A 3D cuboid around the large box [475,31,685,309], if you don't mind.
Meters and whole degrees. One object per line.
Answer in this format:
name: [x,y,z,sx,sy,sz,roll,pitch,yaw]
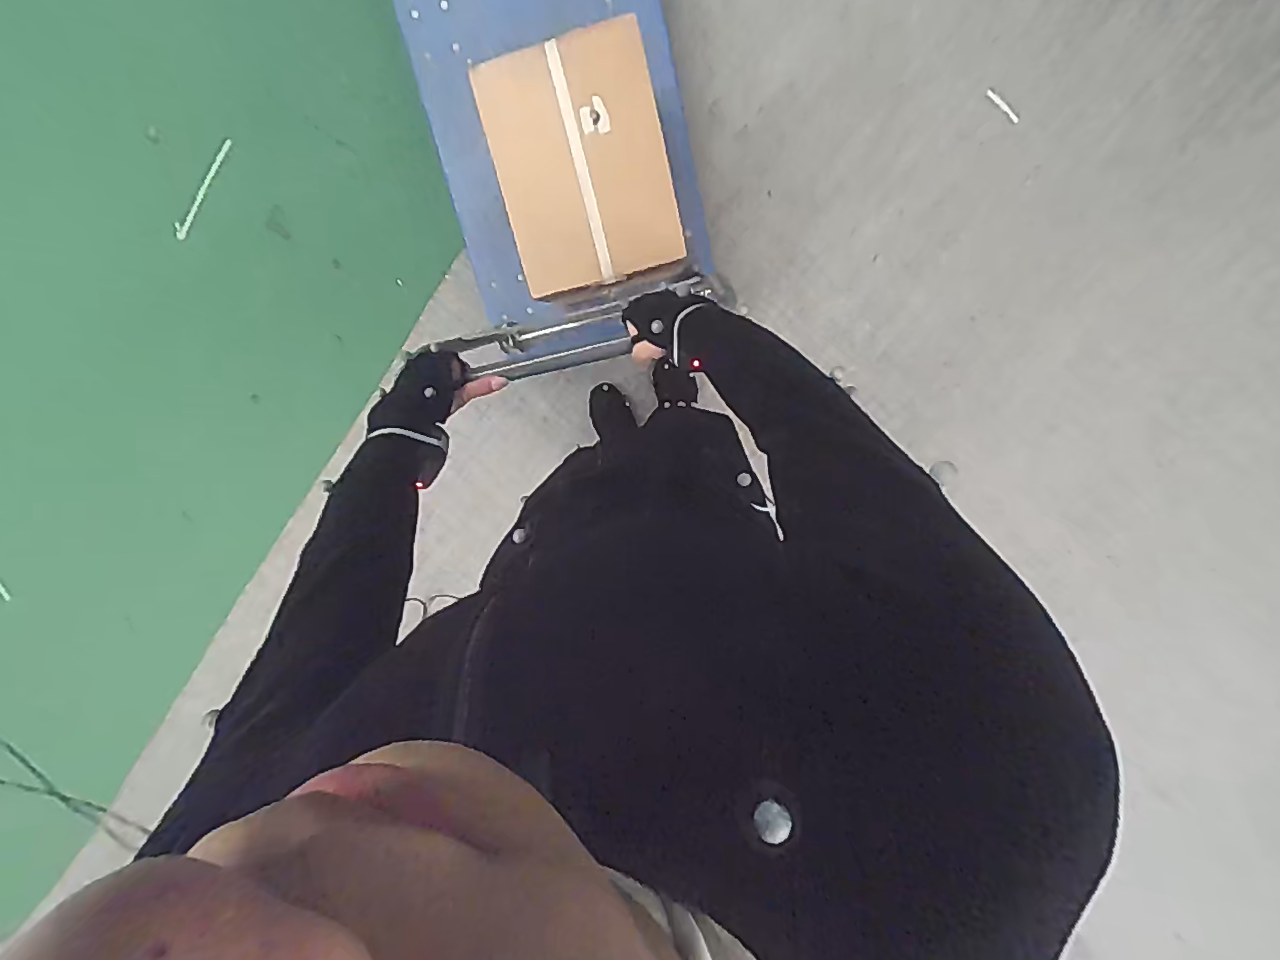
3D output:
large box: [-0.097,-0.610,1.157,0.320,0.320,0.408,-12,104,6]
